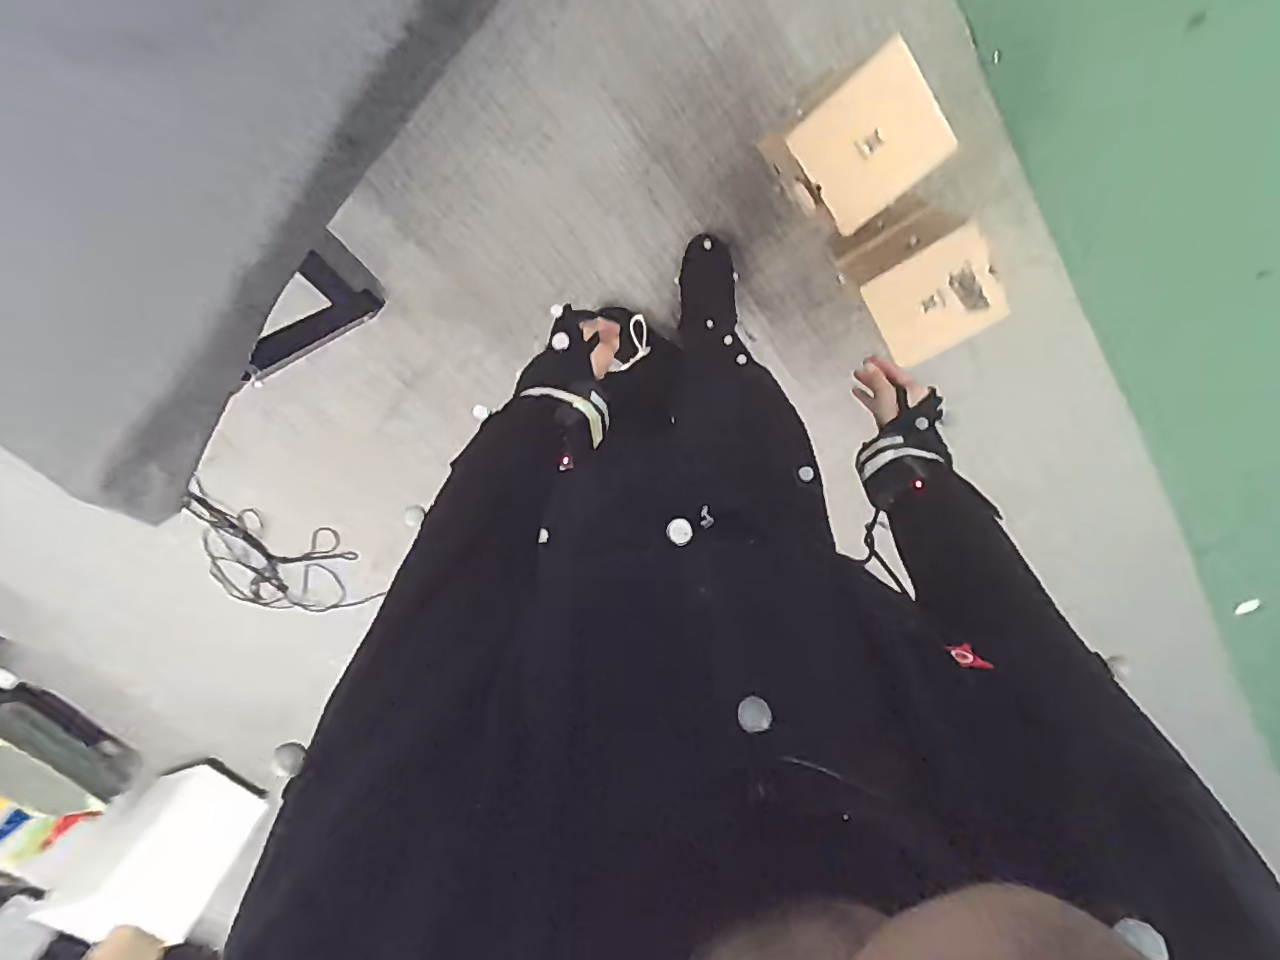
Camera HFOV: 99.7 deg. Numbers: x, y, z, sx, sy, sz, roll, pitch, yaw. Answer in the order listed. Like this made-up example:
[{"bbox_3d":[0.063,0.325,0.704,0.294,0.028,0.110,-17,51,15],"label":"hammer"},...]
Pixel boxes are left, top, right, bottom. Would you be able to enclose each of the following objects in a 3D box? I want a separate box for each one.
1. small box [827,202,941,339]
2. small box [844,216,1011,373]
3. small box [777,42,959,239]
[{"bbox_3d":[0.485,-0.408,1.041,0.179,0.176,0.168,-28,114,24],"label":"small box"},{"bbox_3d":[0.469,-0.315,0.905,0.179,0.176,0.168,-28,113,23],"label":"small box"},{"bbox_3d":[0.326,-0.498,0.809,0.179,0.176,0.168,-35,112,25],"label":"small box"}]
